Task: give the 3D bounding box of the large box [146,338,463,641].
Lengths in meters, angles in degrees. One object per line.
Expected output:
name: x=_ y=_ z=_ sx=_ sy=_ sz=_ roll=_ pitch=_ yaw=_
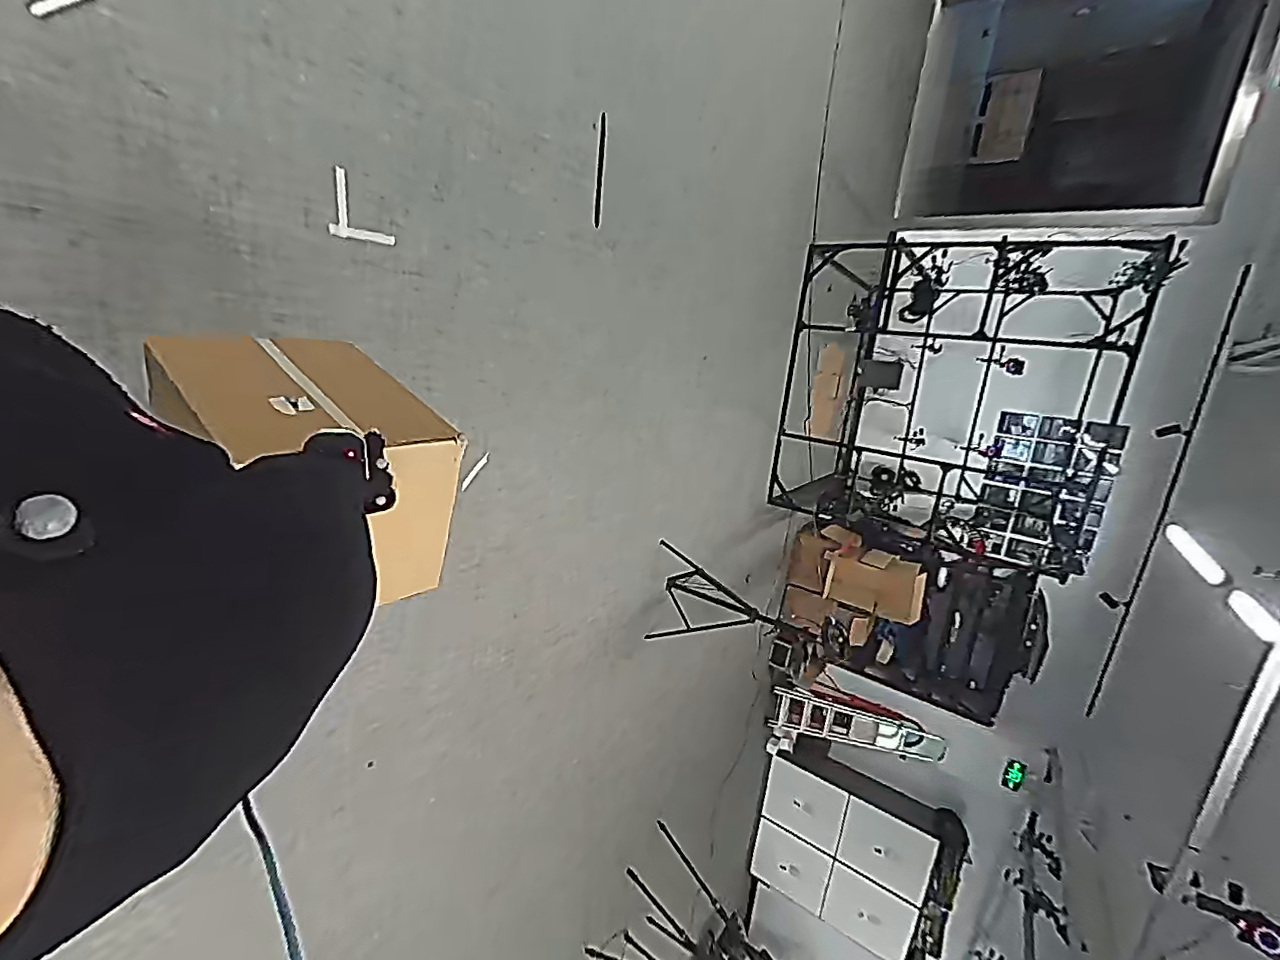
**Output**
large box: x=-0.571 y=-0.013 z=0.919 sx=0.320 sy=0.408 sz=0.320 roll=-16 pitch=134 yaw=-50
